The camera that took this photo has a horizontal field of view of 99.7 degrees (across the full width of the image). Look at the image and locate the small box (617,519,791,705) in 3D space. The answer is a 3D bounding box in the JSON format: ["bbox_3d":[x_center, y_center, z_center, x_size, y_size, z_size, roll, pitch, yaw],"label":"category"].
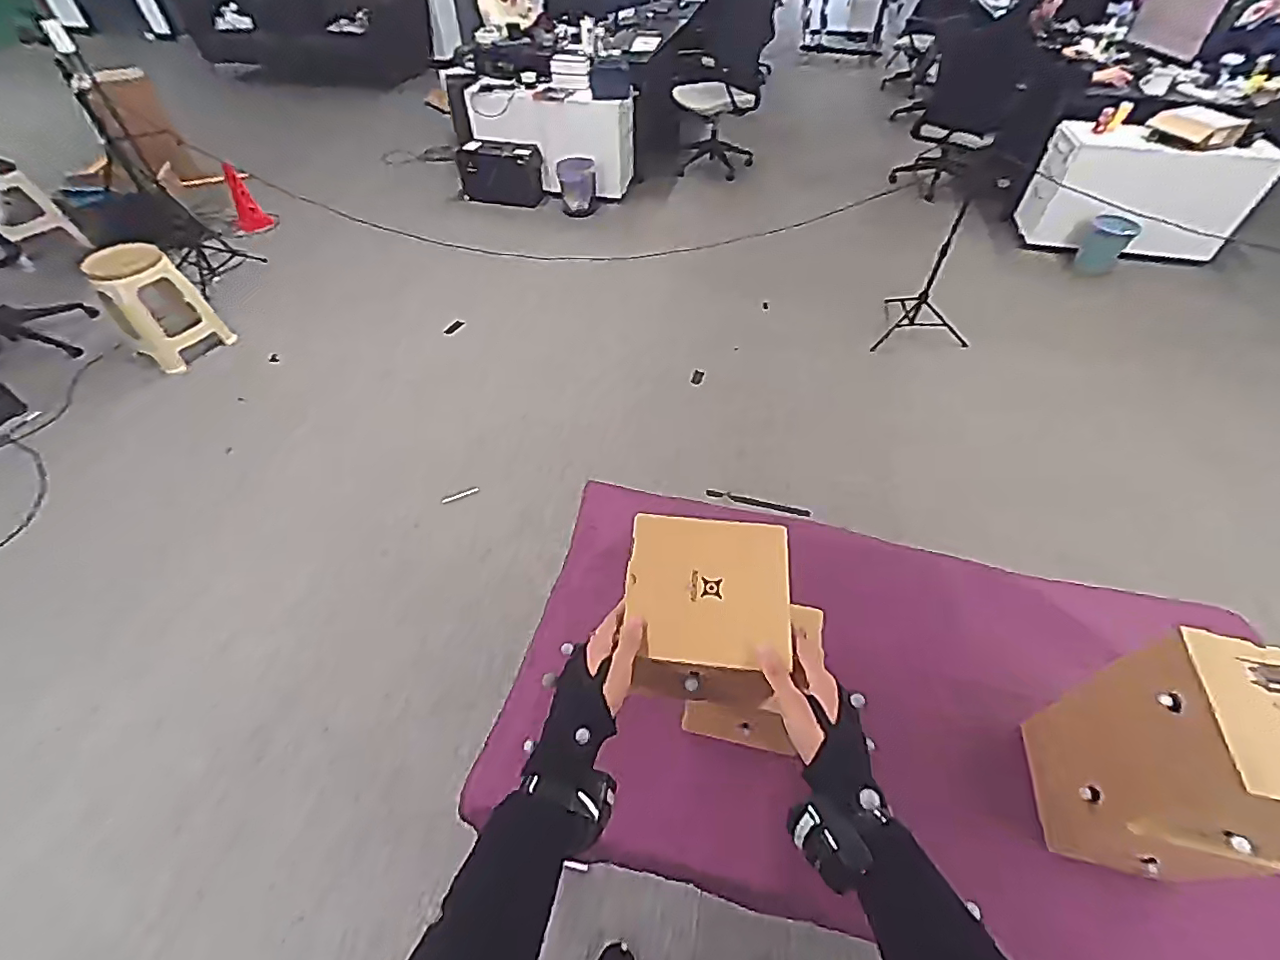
[{"bbox_3d":[0.073,0.163,0.646,0.179,0.176,0.168,4,57,5],"label":"small box"}]

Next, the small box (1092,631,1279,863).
[{"bbox_3d":[0.666,0.302,0.611,0.168,0.176,0.179,11,51,9],"label":"small box"}]

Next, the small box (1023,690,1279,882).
[{"bbox_3d":[0.661,0.415,0.730,0.168,0.176,0.179,11,50,8],"label":"small box"}]
